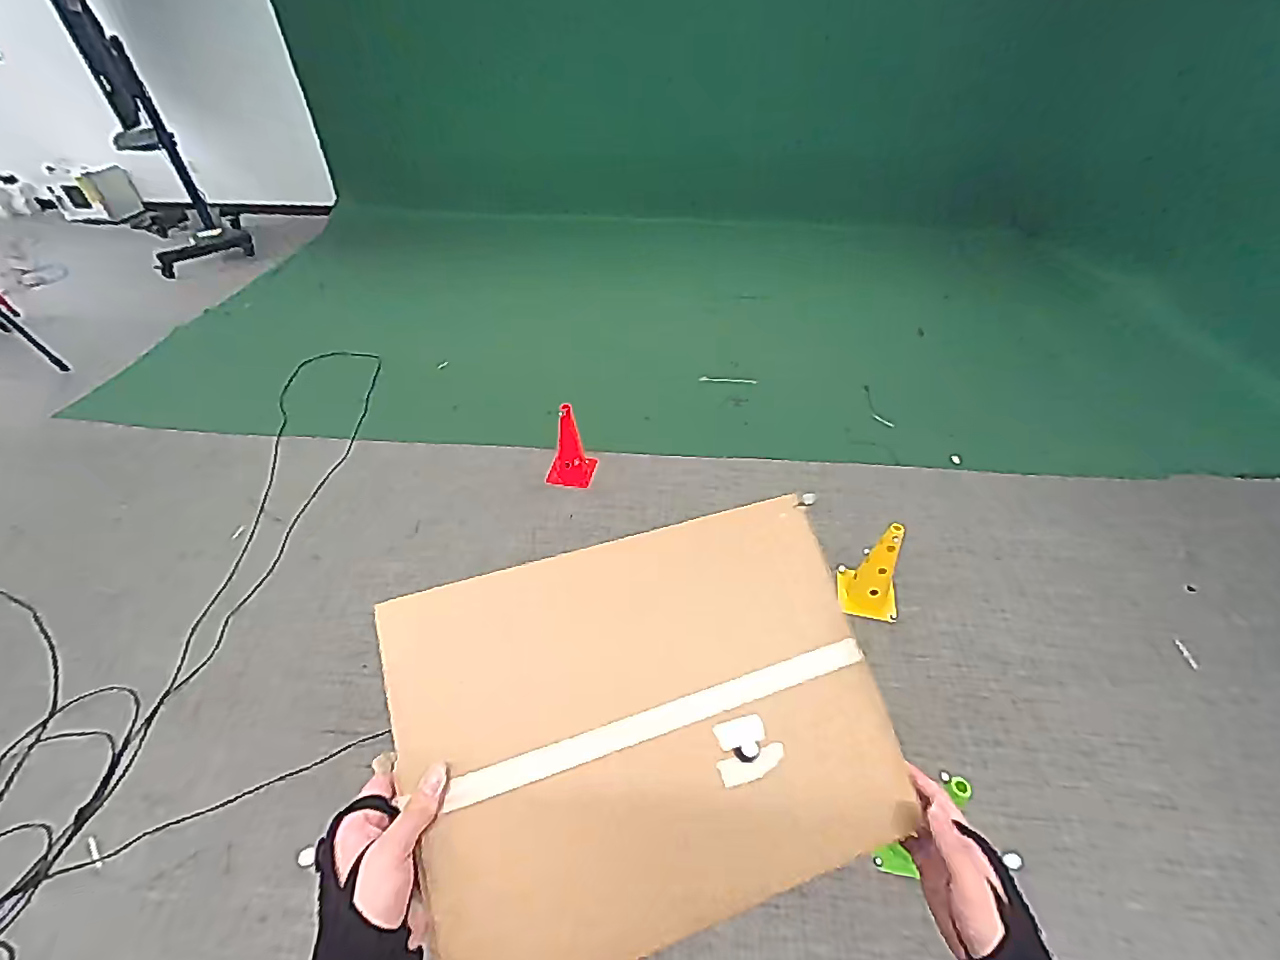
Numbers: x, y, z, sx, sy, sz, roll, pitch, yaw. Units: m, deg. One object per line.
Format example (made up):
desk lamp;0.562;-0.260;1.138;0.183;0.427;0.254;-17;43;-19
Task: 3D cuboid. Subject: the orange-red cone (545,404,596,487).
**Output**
orange-red cone;-0.312;-0.166;2.308;0.199;0.360;0.198;7;43;9

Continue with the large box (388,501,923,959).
large box;-0.006;0.255;0.600;0.408;0.320;0.320;-14;76;-14

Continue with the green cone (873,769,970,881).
green cone;0.707;0.792;1.303;0.200;0.368;0.202;7;43;7
